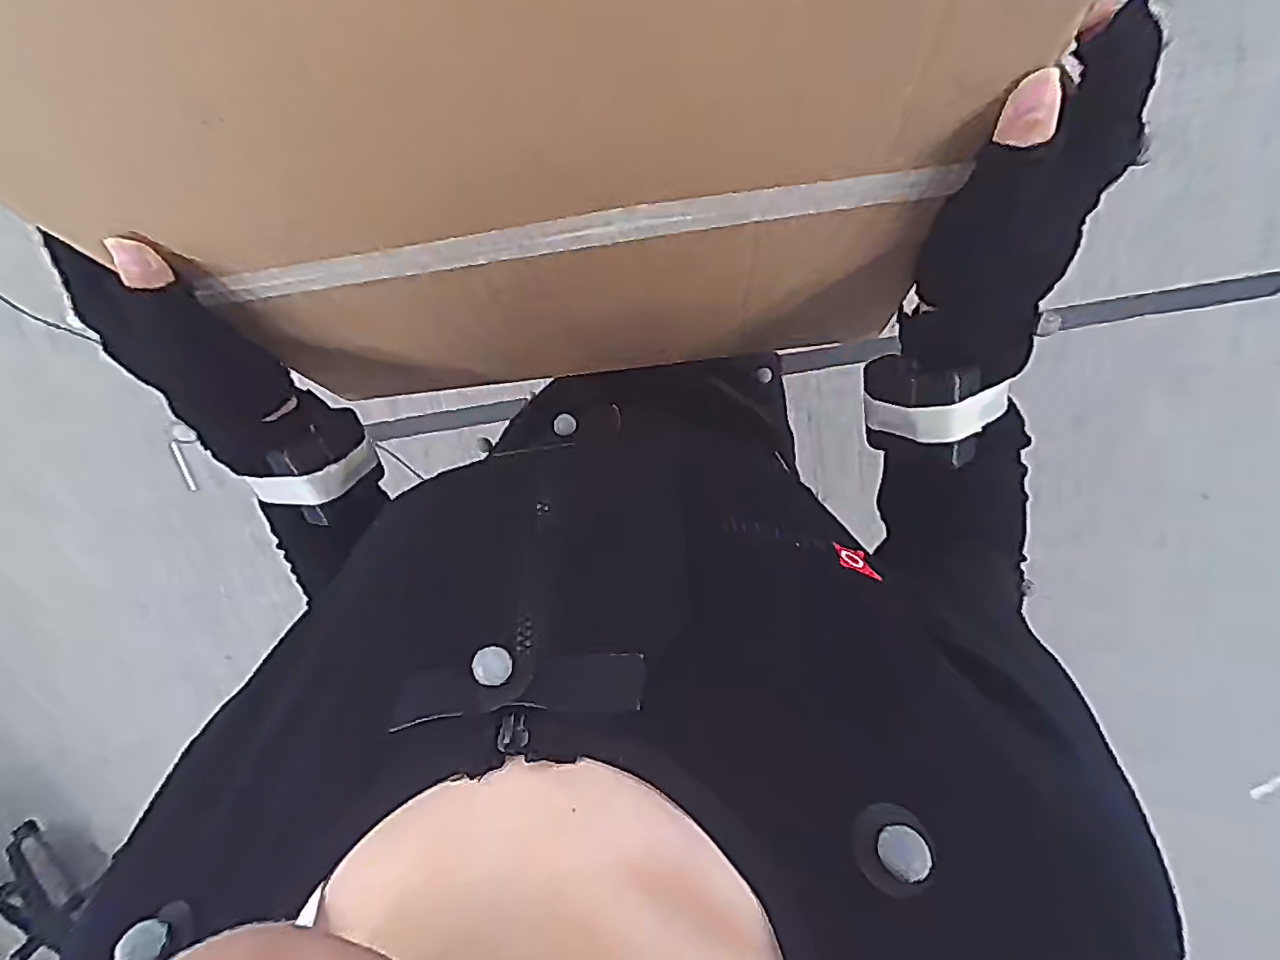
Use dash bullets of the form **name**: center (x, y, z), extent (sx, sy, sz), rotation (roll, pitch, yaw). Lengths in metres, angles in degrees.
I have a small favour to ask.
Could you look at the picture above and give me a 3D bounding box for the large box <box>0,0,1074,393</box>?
- **large box**: center (-0.056, -0.271, 0.303), extent (0.408, 0.320, 0.320), rotation (-6, 77, 5)
